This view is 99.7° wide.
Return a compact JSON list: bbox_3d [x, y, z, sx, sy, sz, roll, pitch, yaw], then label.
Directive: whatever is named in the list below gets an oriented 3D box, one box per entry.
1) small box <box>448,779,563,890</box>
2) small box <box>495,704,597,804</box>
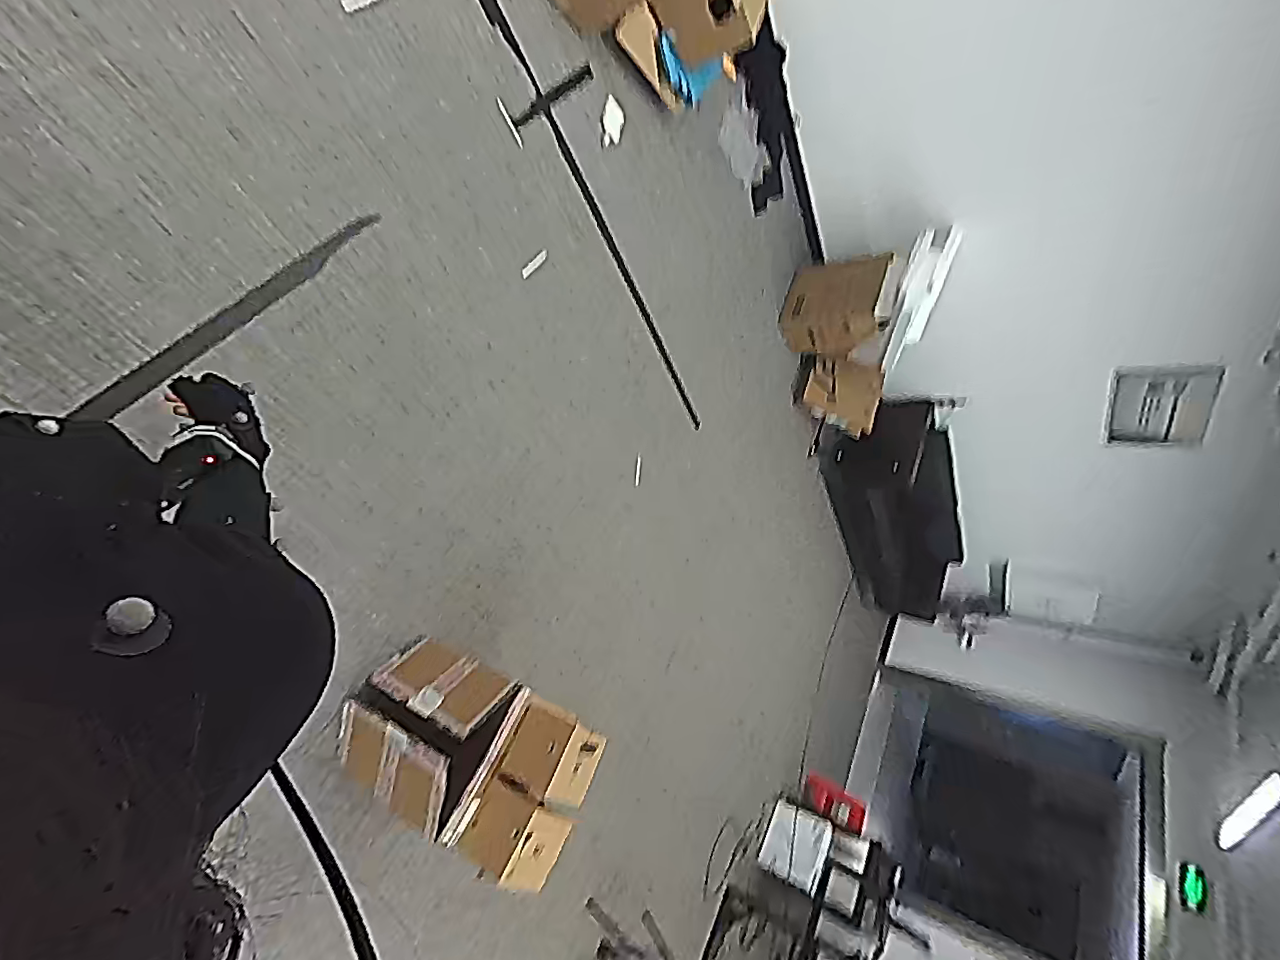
[{"bbox_3d":[-0.332,0.874,1.340,0.168,0.176,0.179,-60,139,-26],"label":"small box"},{"bbox_3d":[-0.248,0.717,1.427,0.168,0.176,0.179,53,53,-44],"label":"small box"}]
